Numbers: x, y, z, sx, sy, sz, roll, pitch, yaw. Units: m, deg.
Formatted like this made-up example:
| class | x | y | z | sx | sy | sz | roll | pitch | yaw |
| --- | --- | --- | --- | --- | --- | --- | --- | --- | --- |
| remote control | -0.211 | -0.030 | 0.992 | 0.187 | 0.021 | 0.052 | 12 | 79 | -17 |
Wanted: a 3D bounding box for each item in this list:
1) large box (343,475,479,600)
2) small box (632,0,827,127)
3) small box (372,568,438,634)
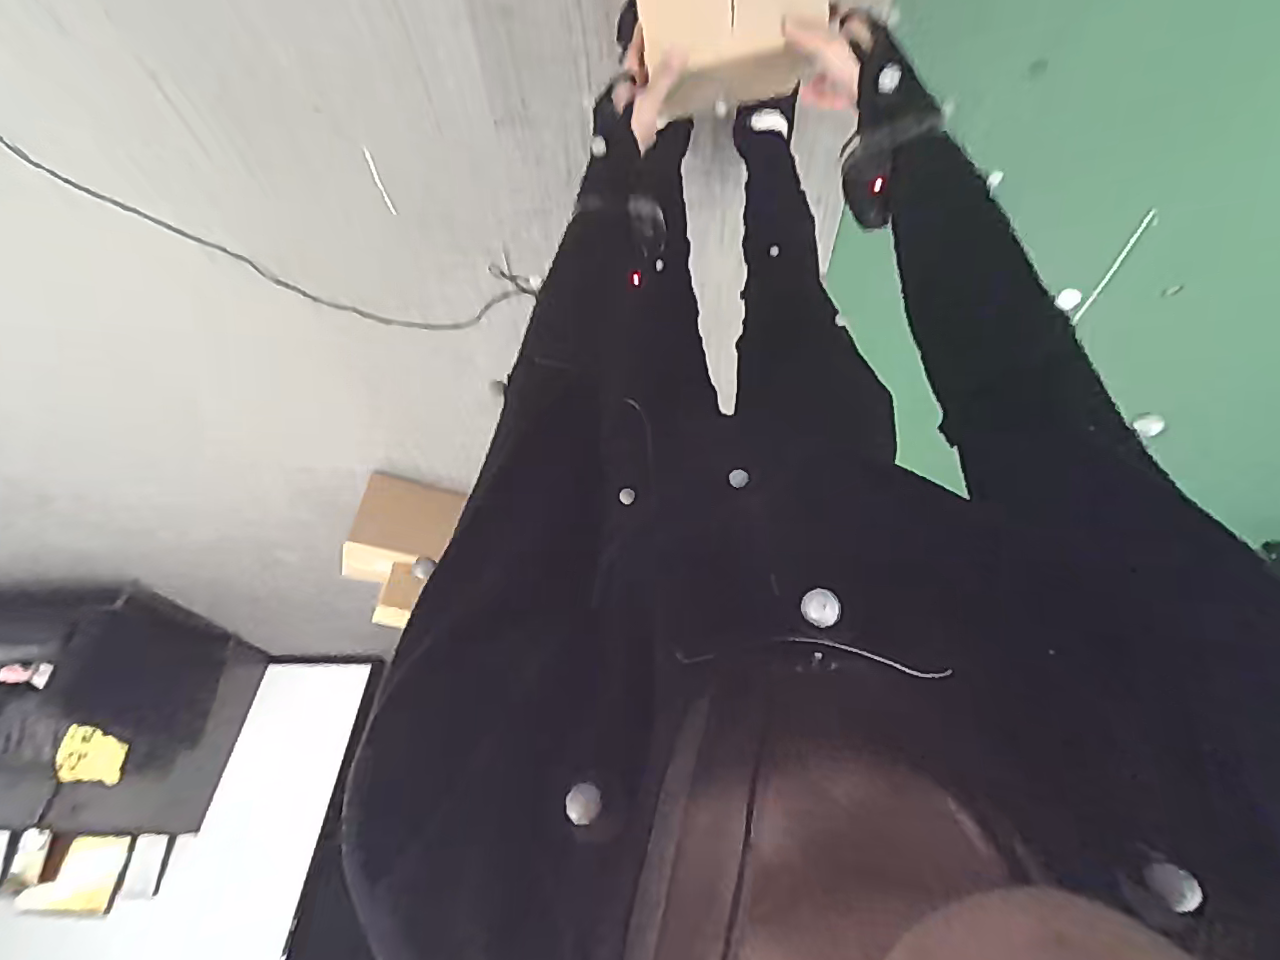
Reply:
| class | x | y | z | sx | sy | sz | roll | pitch | yaw |
| --- | --- | --- | --- | --- | --- | --- | --- | --- | --- |
| large box | -0.882 | 0.230 | 2.101 | 0.408 | 0.320 | 0.320 | 19 | 140 | -19 |
| small box | 0.075 | -0.481 | 0.530 | 0.168 | 0.176 | 0.179 | -8 | 111 | 7 |
| small box | -0.857 | 0.443 | 1.978 | 0.168 | 0.176 | 0.179 | 21 | 141 | -23 |
